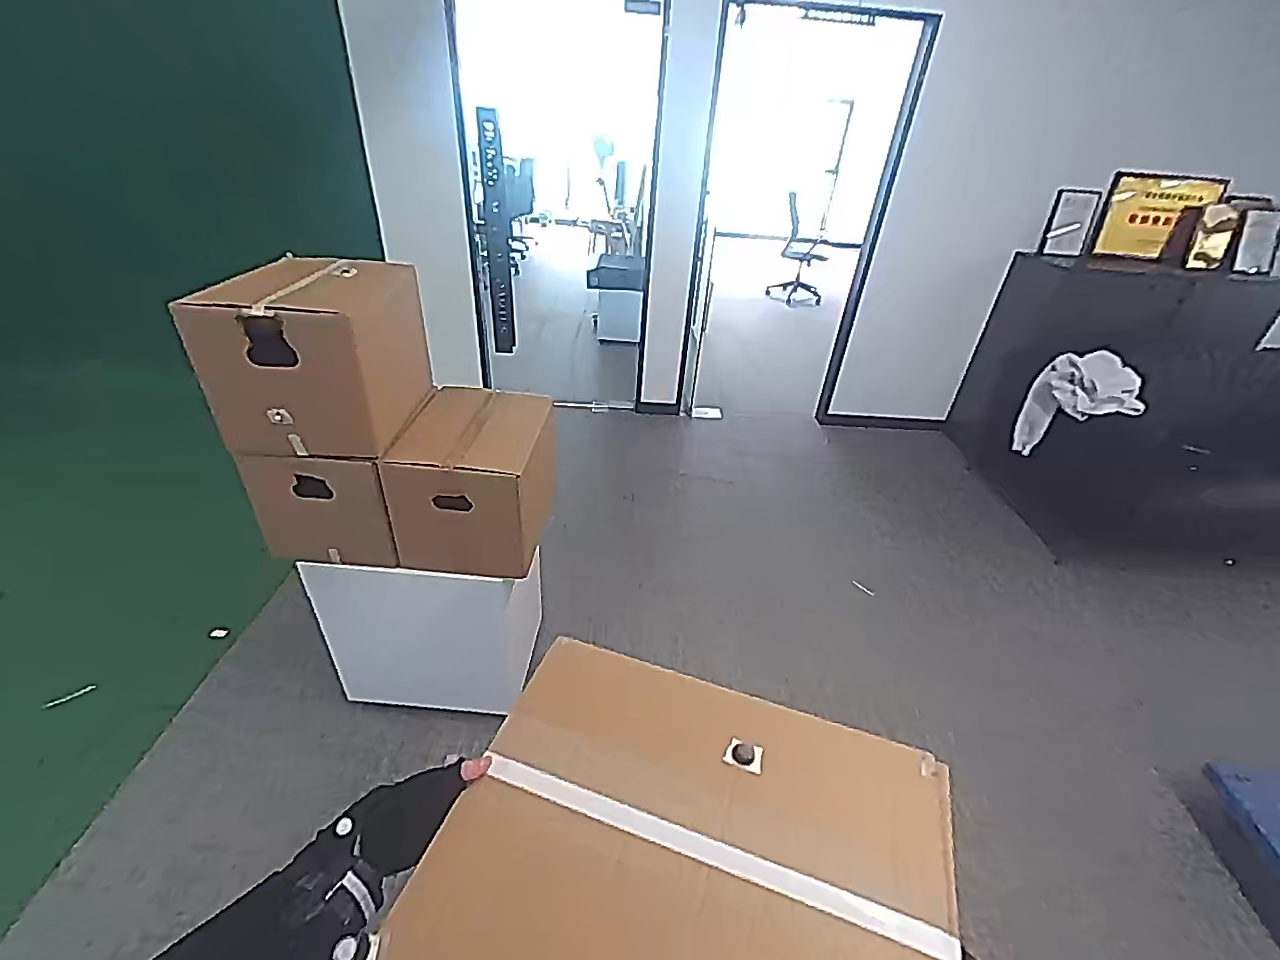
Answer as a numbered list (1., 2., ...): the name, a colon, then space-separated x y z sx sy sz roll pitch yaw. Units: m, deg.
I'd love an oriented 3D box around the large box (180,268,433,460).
1. large box: -0.698 -0.273 1.226 0.320 0.320 0.408 2 32 -4
